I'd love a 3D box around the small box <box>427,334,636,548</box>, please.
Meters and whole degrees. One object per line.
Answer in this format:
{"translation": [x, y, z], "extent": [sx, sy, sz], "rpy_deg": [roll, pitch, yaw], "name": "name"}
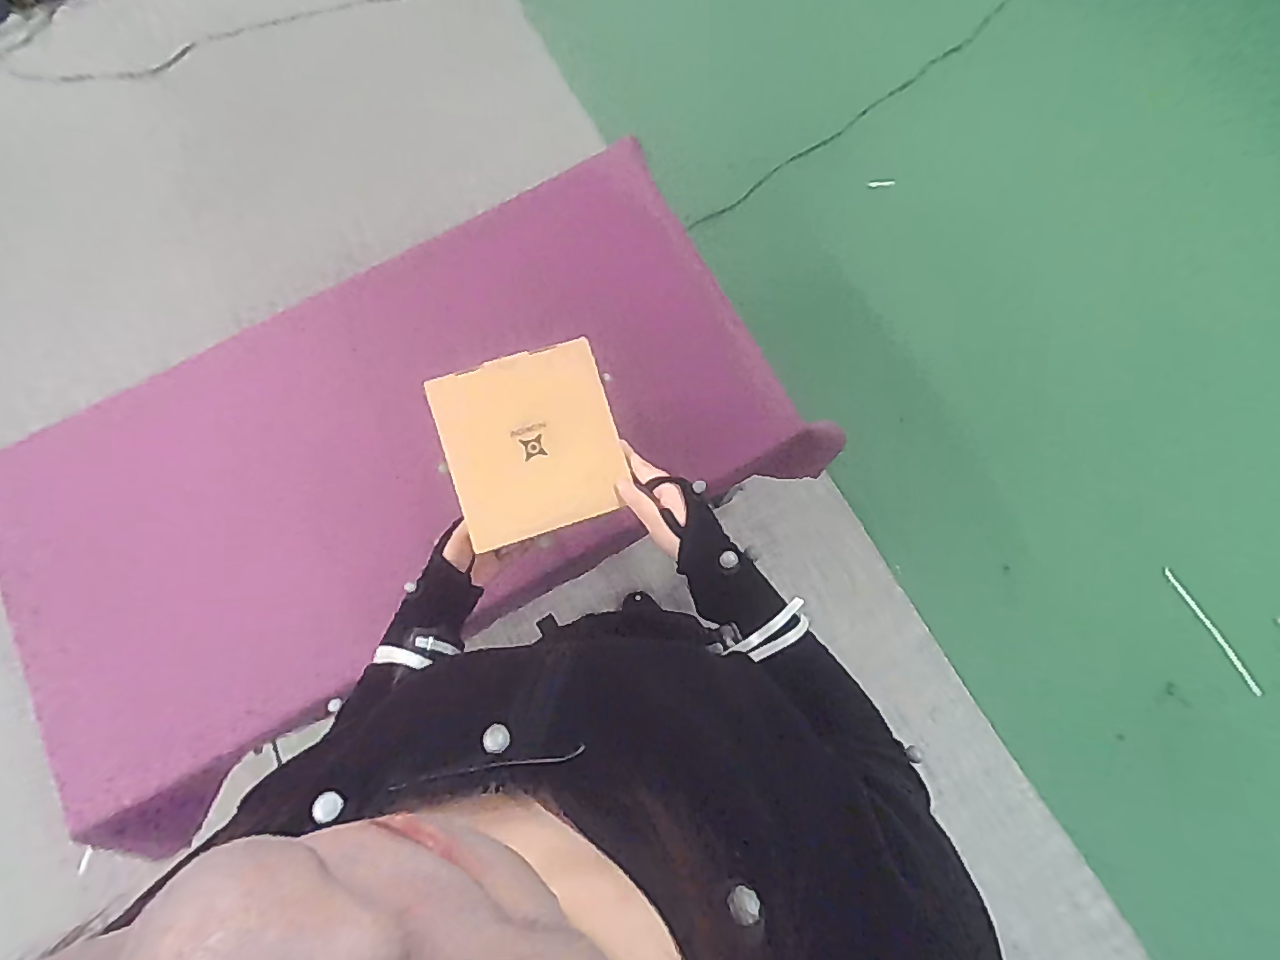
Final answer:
{"translation": [-0.109, -0.034, 0.601], "extent": [0.168, 0.176, 0.179], "rpy_deg": [-17, 86, -6], "name": "small box"}
